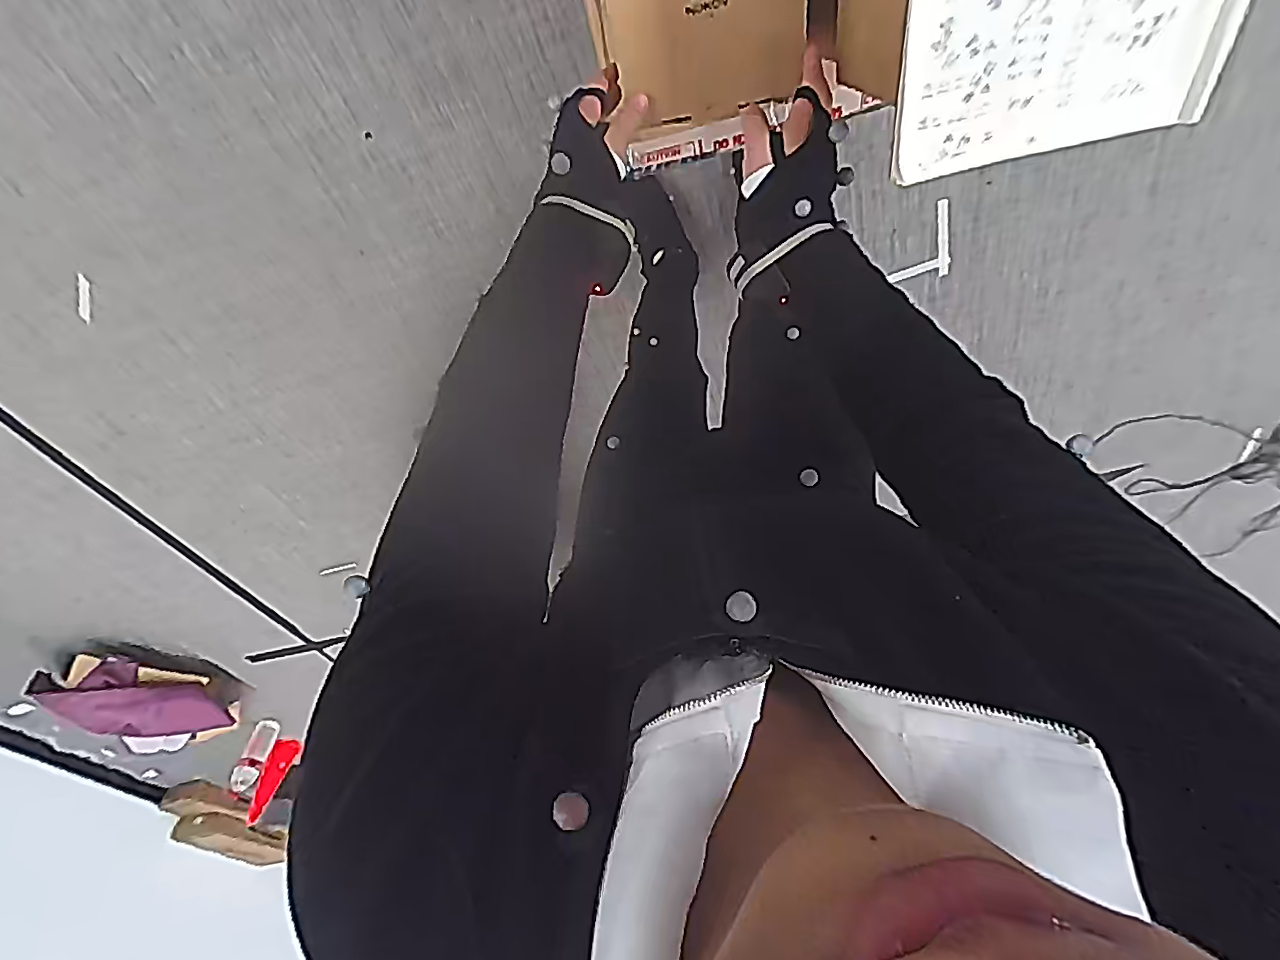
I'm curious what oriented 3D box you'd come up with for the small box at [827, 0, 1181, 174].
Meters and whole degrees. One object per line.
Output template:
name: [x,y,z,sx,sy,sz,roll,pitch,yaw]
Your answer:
small box: [0.240,-0.348,0.381,0.168,0.176,0.179,-11,133,6]
